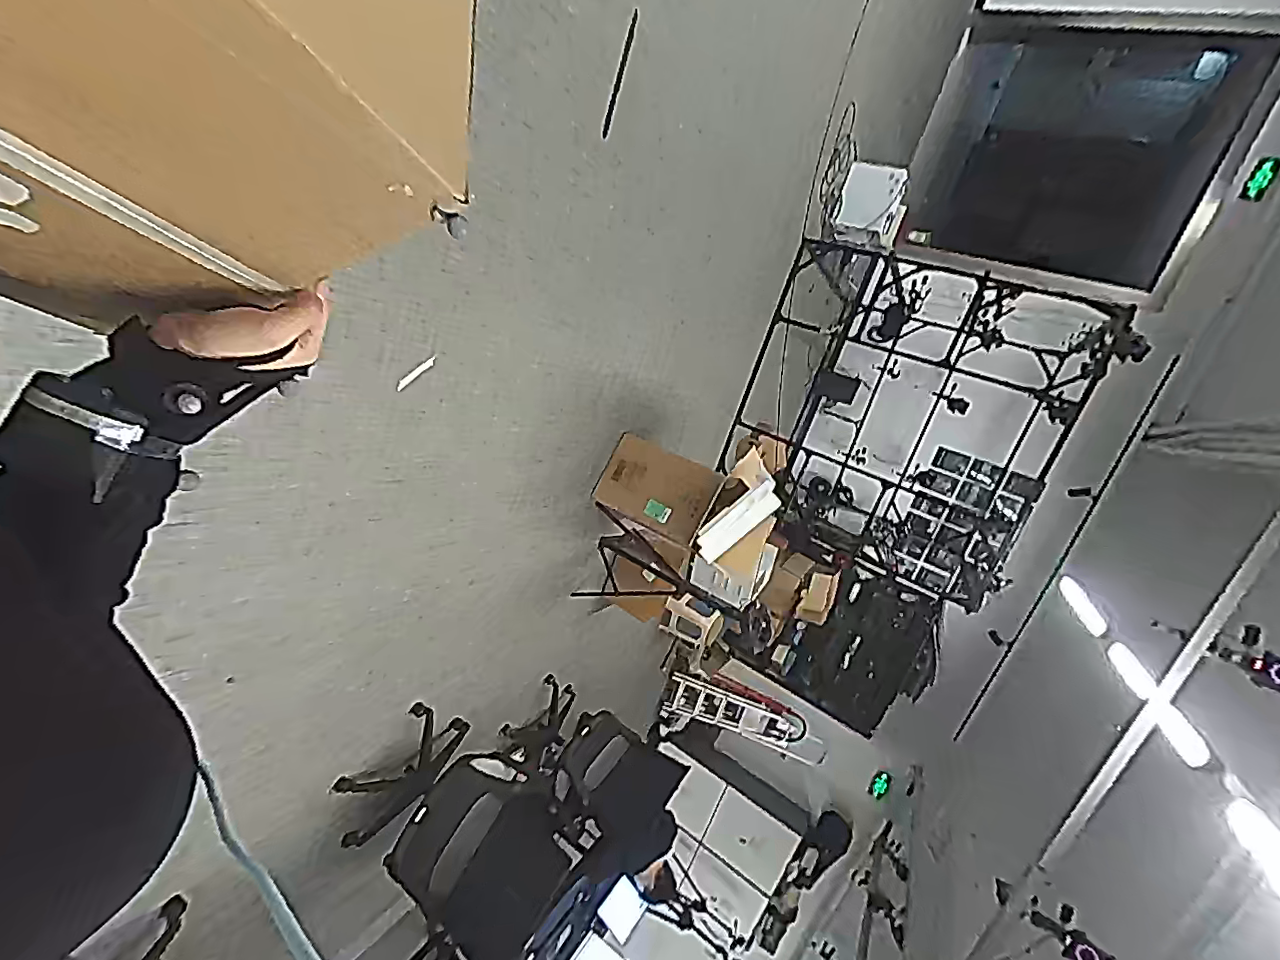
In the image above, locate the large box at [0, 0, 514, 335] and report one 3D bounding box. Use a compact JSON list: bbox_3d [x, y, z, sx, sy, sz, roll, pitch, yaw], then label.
[{"bbox_3d":[-0.303,-0.329,0.233,0.408,0.320,0.320,29,54,-61],"label":"large box"}]
